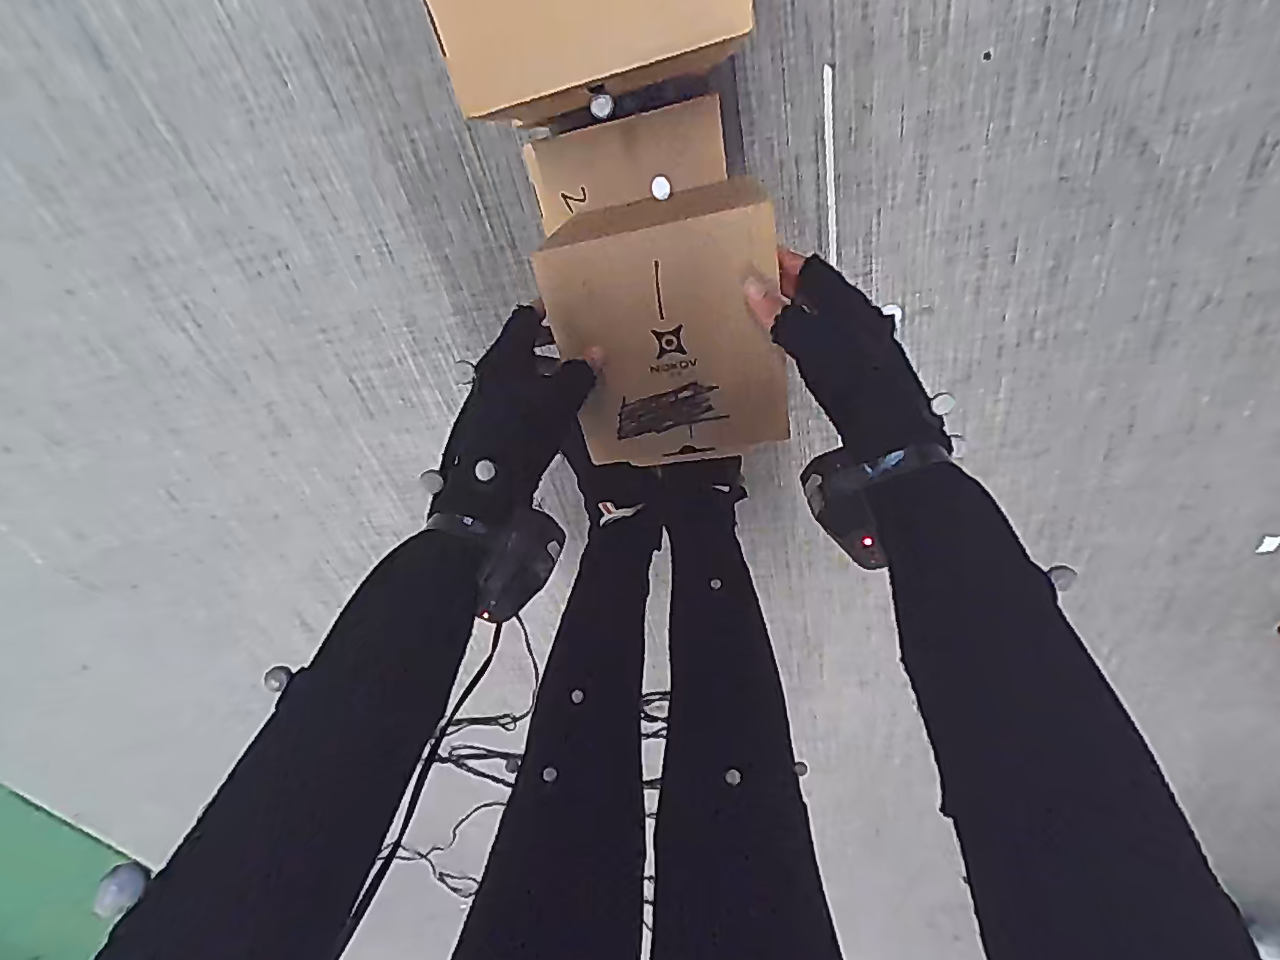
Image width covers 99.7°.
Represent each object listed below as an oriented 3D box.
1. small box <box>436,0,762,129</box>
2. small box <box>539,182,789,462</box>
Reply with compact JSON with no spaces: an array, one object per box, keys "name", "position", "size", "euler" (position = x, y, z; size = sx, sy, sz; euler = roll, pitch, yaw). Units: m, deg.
[{"name":"small box","position":[-0.029,-0.340,0.339],"size":[0.179,0.176,0.168],"euler":[-9,123,11]},{"name":"small box","position":[0.033,-0.138,0.466],"size":[0.168,0.176,0.179],"euler":[-7,122,10]}]
